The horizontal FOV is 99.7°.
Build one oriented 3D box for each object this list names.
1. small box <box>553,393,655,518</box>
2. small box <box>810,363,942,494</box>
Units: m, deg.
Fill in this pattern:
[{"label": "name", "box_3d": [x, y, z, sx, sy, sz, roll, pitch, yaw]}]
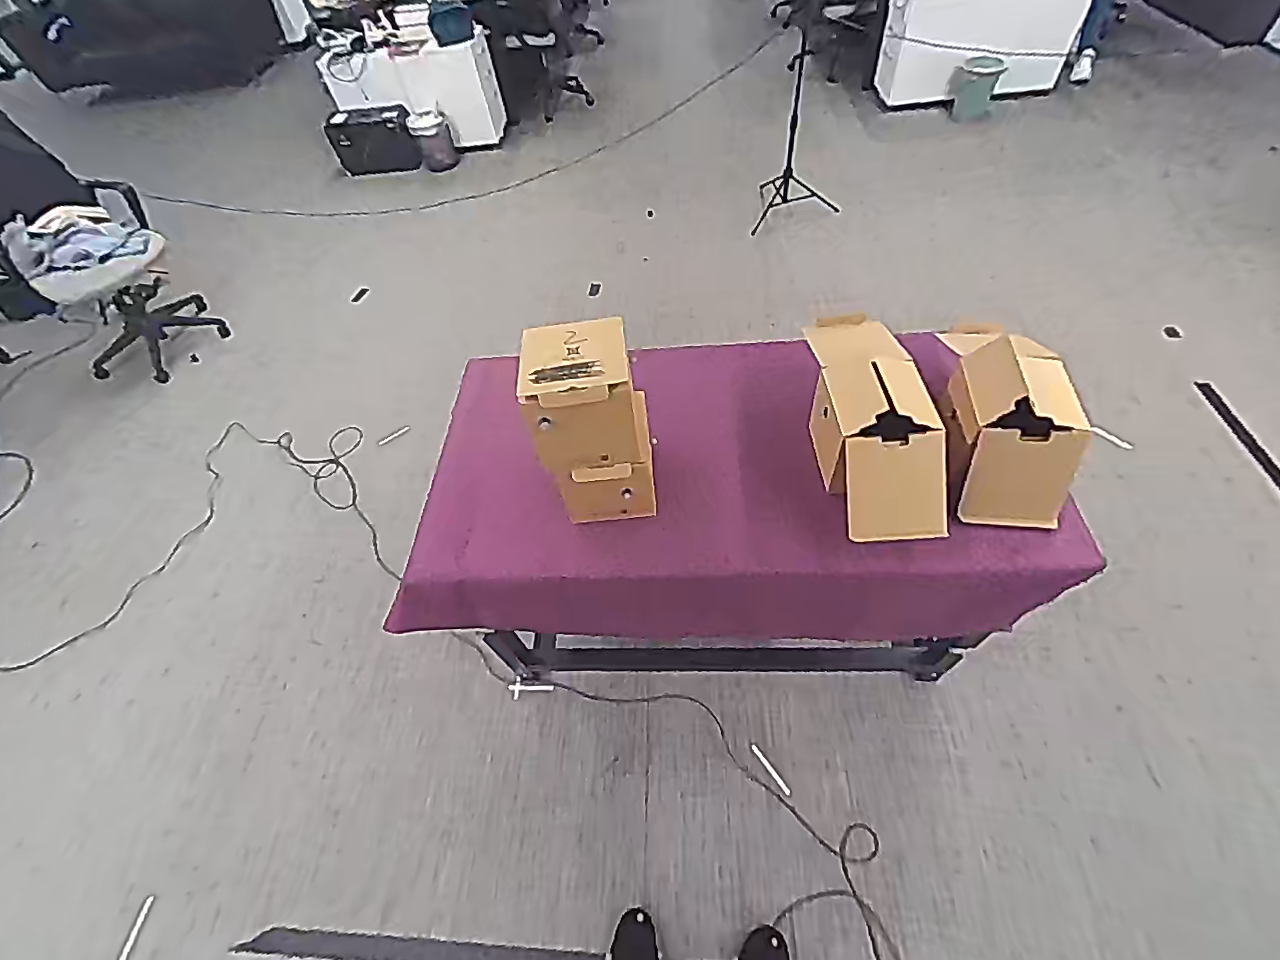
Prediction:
[{"label": "small box", "box_3d": [-0.061, -0.039, 1.027, 0.168, 0.176, 0.179, -4, 53, 3]}, {"label": "small box", "box_3d": [0.423, -0.093, 1.005, 0.168, 0.176, 0.179, -4, 54, 5]}]
